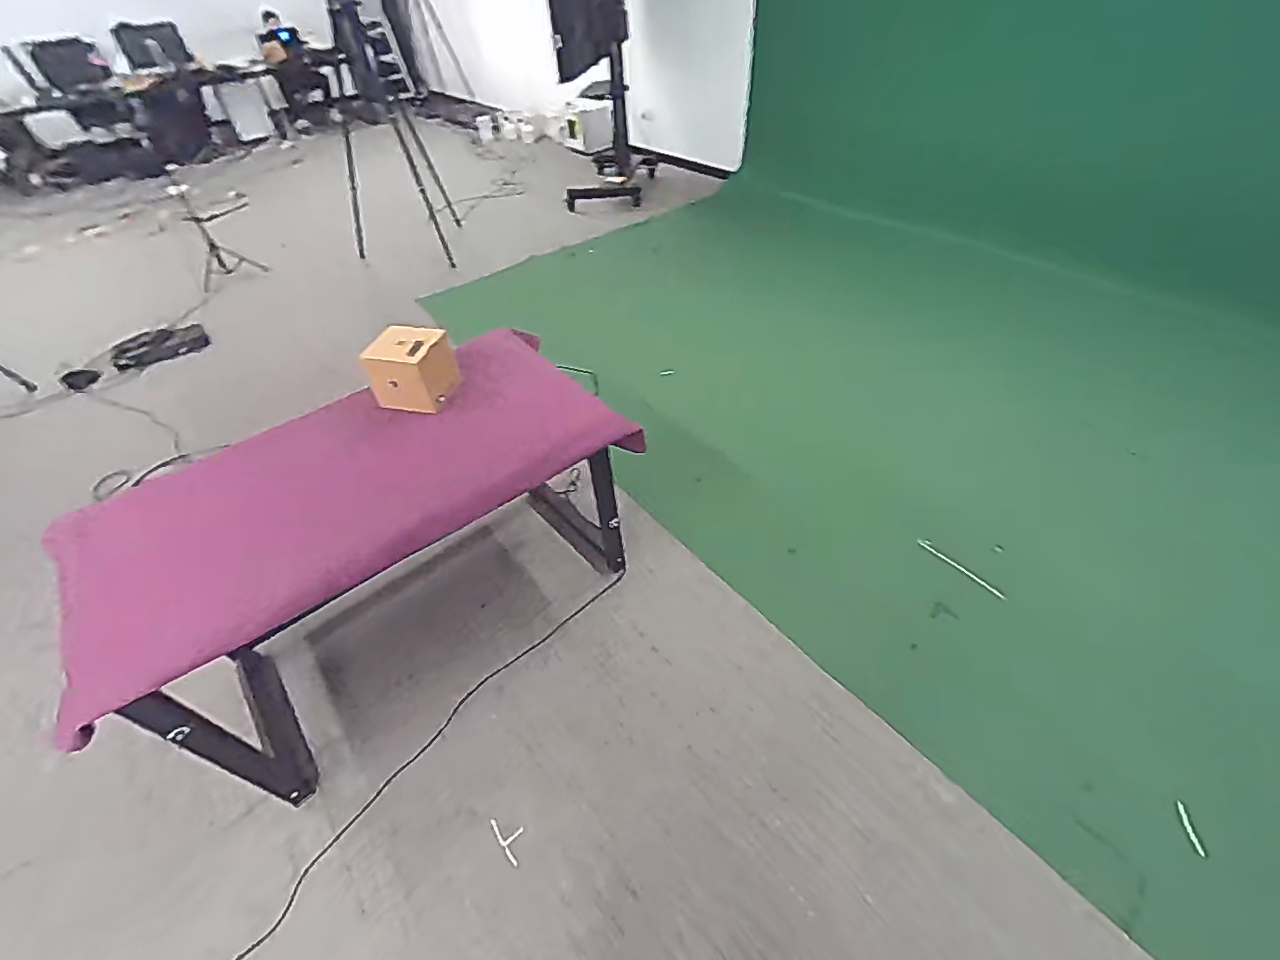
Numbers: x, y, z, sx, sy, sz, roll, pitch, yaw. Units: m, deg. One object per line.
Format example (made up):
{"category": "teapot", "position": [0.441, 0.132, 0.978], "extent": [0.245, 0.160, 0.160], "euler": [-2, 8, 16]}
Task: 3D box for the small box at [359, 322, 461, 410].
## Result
{"category": "small box", "position": [-0.621, -0.312, 1.491], "extent": [0.179, 0.176, 0.168], "euler": [8, 47, 12]}
